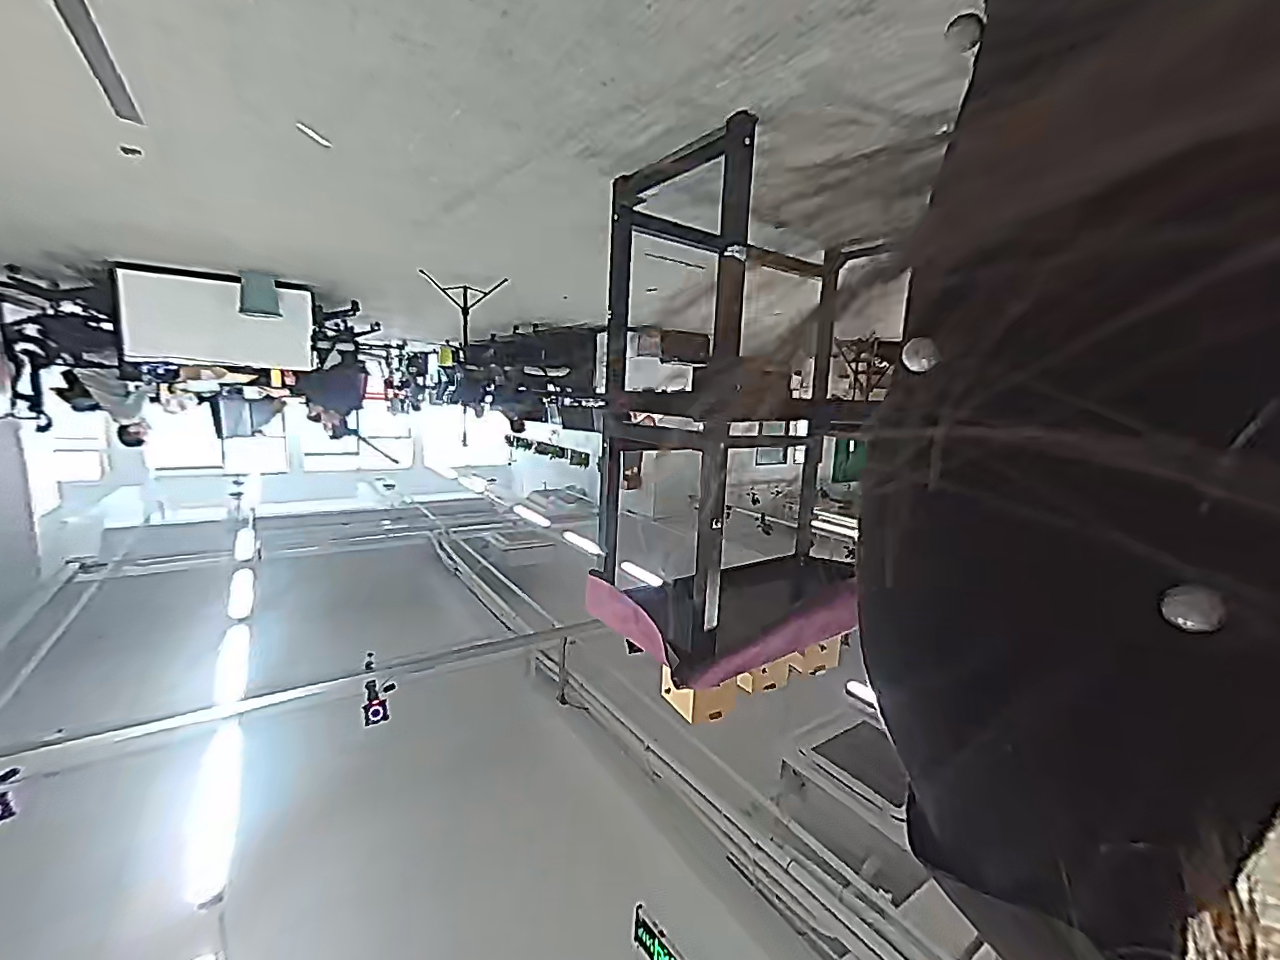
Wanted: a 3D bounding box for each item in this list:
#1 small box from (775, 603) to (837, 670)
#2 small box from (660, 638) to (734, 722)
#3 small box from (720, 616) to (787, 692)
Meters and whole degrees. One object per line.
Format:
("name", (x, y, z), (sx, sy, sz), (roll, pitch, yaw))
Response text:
("small box", (0.609, 0.572, 1.996), (0.168, 0.176, 0.179), (-3, -170, -25))
("small box", (0.179, 0.611, 1.682), (0.168, 0.176, 0.179), (-4, -168, -29))
("small box", (0.384, 0.587, 1.847), (0.168, 0.176, 0.179), (-3, -169, -32))
